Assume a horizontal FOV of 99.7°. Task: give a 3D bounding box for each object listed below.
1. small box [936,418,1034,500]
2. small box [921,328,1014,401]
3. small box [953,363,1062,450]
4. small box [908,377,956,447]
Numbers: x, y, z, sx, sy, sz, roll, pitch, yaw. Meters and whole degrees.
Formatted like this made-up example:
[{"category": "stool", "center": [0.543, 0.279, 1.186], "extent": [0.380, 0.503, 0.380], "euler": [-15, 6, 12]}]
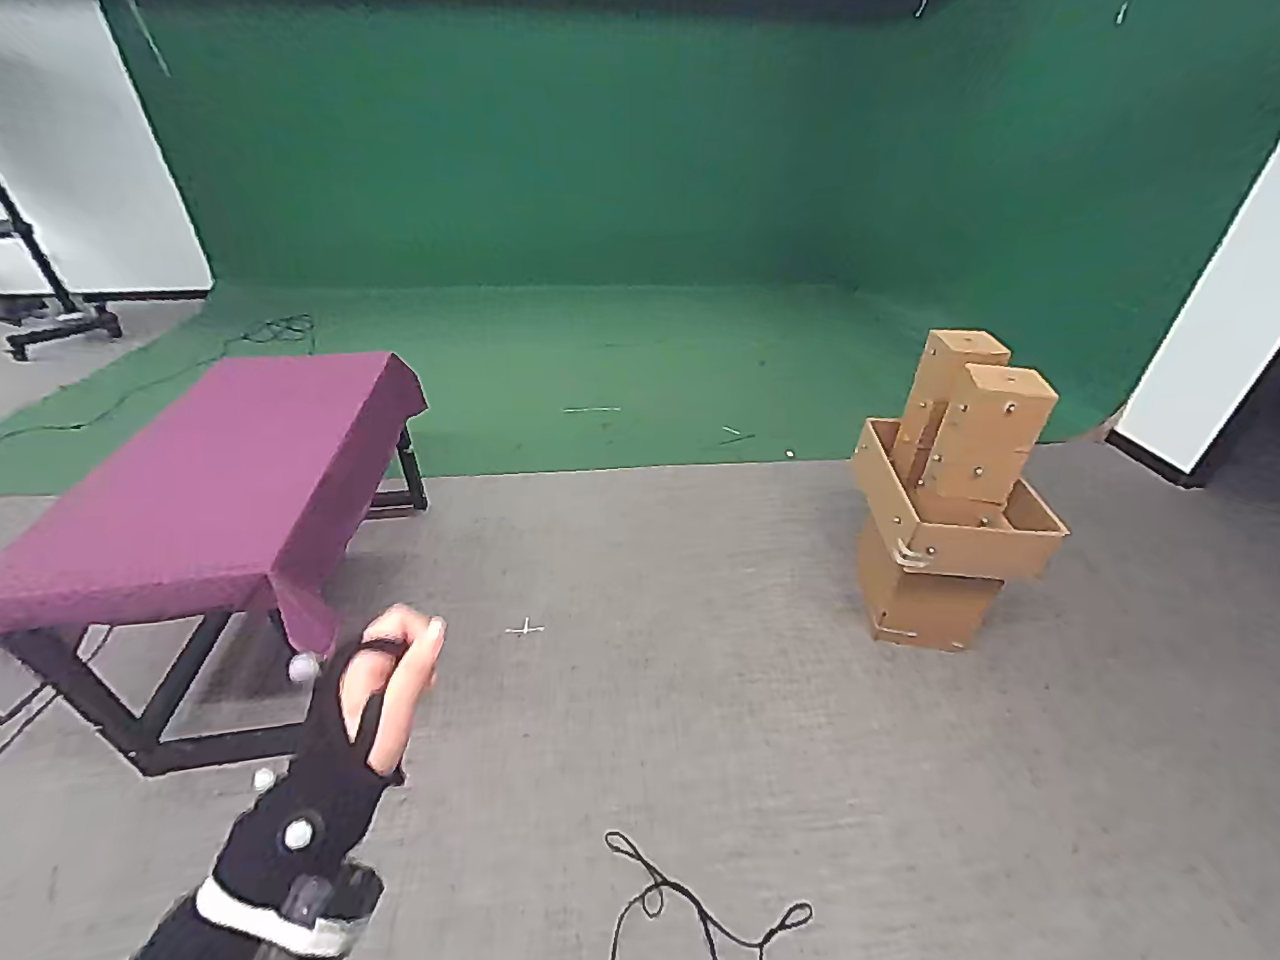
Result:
[{"category": "small box", "center": [0.951, -0.059, 1.516], "extent": [0.179, 0.176, 0.168], "euler": [6, 36, 11]}, {"category": "small box", "center": [0.987, -0.351, 1.649], "extent": [0.168, 0.176, 0.179], "euler": [2, 36, 4]}, {"category": "small box", "center": [0.950, -0.194, 1.423], "extent": [0.179, 0.176, 0.168], "euler": [8, 36, 11]}, {"category": "small box", "center": [0.992, -0.217, 1.746], "extent": [0.168, 0.176, 0.179], "euler": [2, 36, 4]}]
